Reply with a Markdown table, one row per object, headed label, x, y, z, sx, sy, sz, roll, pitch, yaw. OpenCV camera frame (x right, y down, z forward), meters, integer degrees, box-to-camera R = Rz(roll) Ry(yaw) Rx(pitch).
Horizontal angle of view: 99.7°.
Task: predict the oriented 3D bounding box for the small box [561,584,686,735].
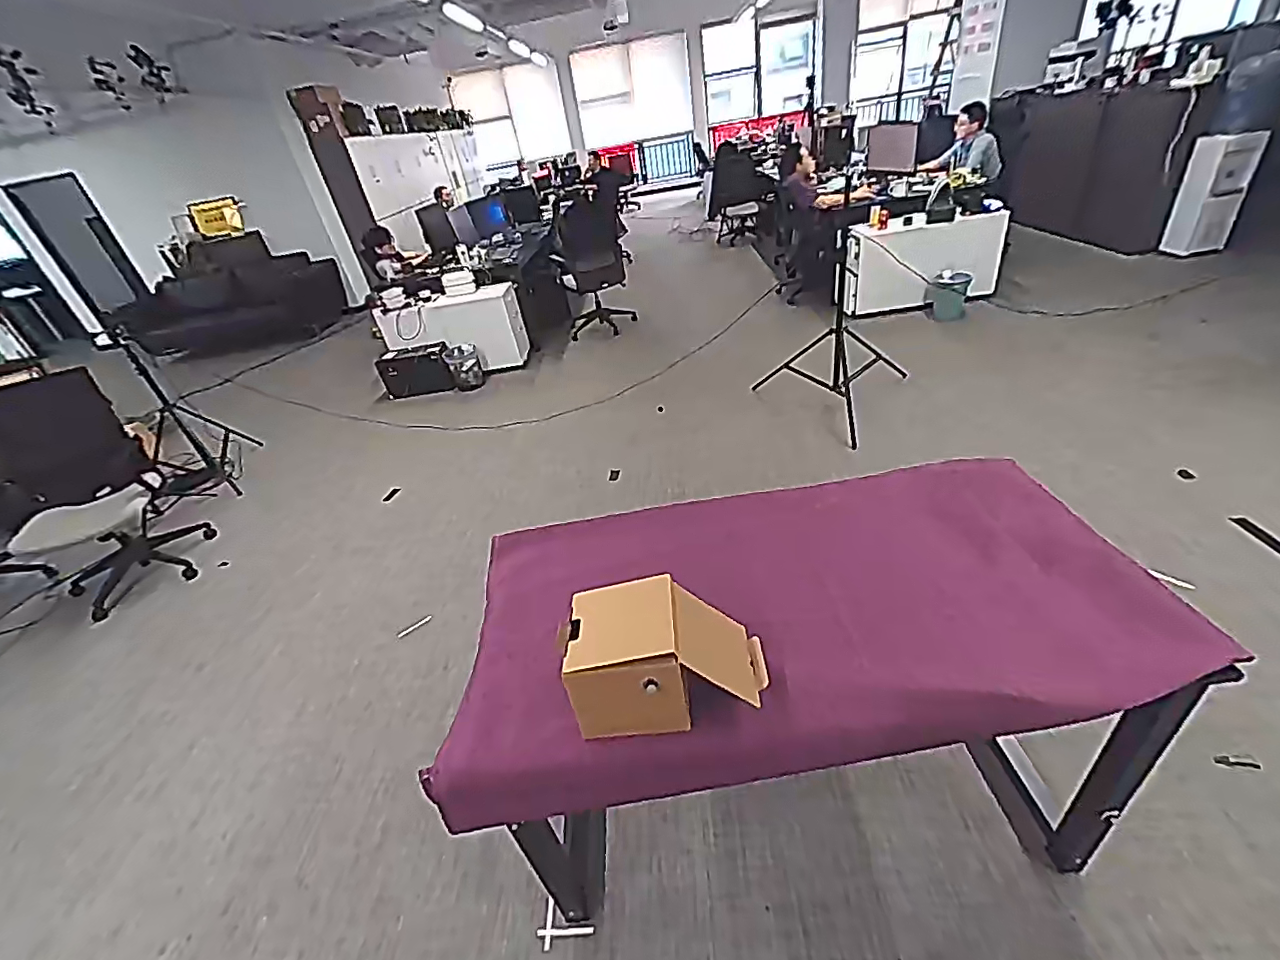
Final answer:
| label | x | y | z | sx | sy | sz | roll | pitch | yaw |
| --- | --- | --- | --- | --- | --- | --- | --- | --- | --- |
| small box | -0.017 | 0.297 | 0.894 | 0.179 | 0.176 | 0.168 | -8 | 32 | 6 |
